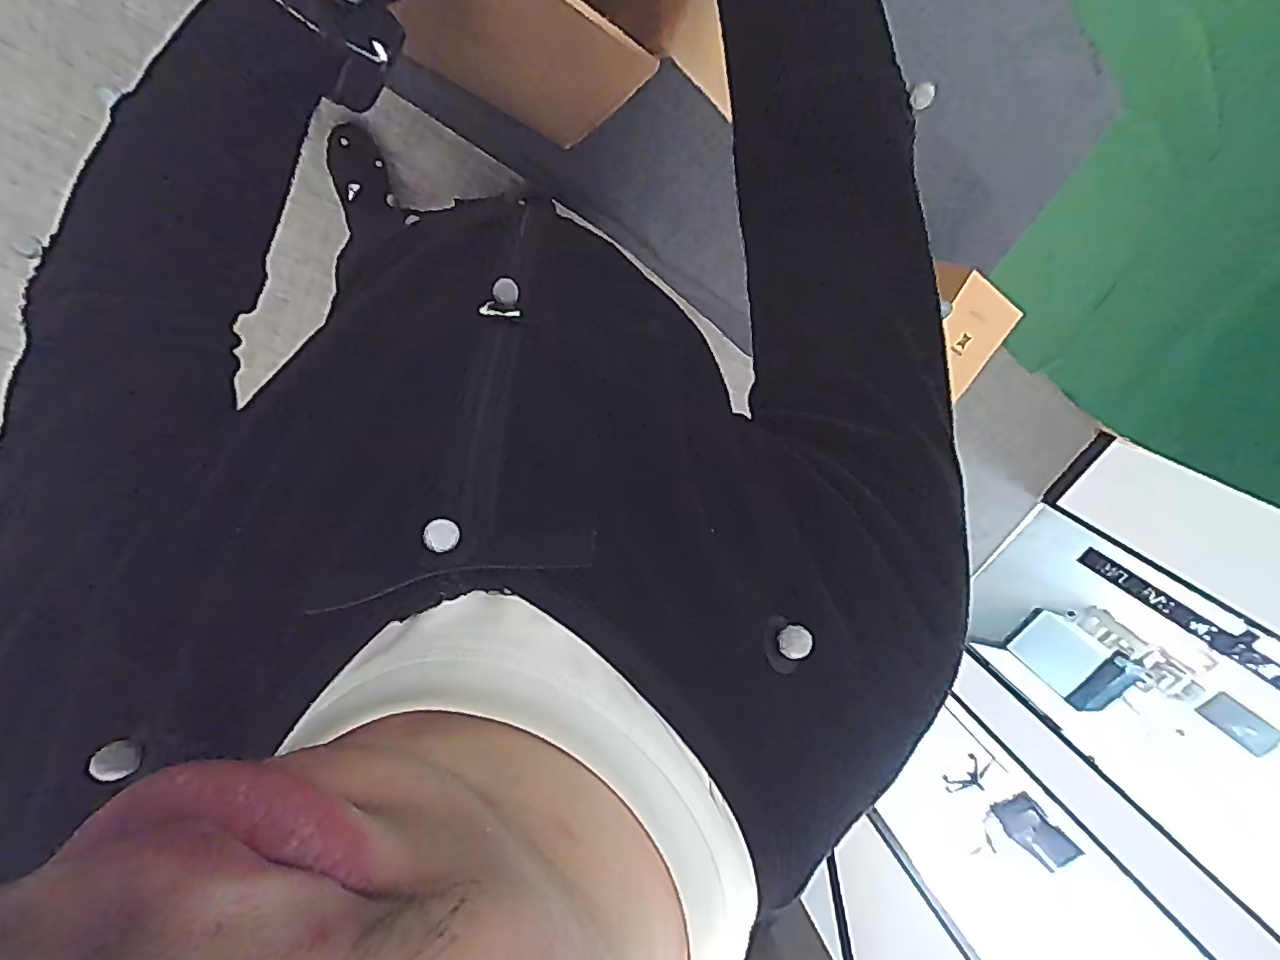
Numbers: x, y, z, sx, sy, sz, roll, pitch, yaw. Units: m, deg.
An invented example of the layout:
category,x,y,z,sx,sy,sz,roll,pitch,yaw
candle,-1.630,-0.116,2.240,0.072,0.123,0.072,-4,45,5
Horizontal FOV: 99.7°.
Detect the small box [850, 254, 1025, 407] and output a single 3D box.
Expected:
category,x,y,z,sx,sy,sz,roll,pitch,yaw
small box,0.492,-0.257,0.923,0.168,0.176,0.179,17,112,-32
